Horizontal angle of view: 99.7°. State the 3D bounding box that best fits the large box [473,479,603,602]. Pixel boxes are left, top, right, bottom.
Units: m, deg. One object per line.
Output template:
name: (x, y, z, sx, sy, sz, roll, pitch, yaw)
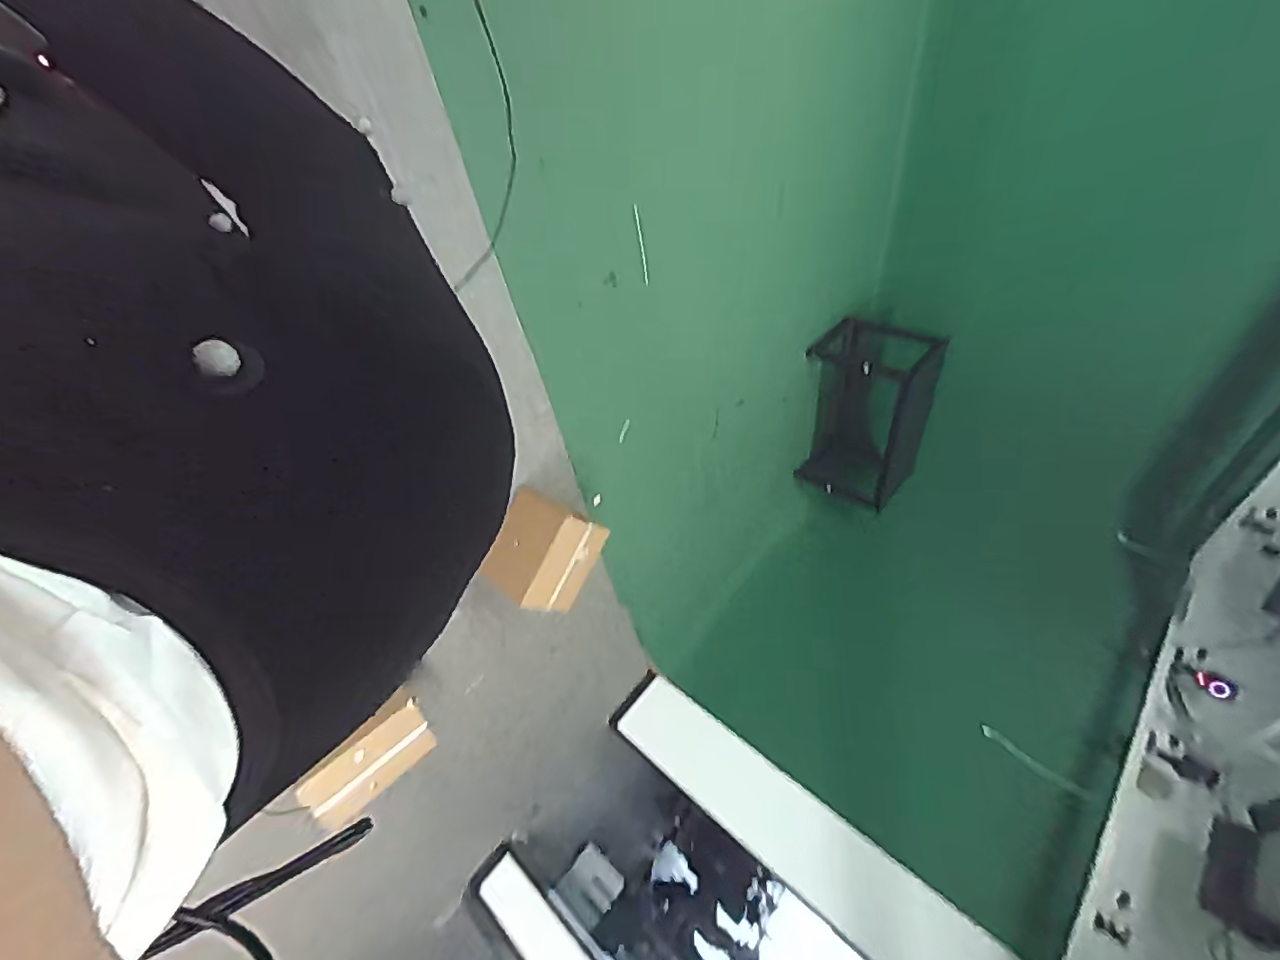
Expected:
large box: (-0.433, 0.261, 2.298, 0.320, 0.320, 0.408, 26, 92, -57)
